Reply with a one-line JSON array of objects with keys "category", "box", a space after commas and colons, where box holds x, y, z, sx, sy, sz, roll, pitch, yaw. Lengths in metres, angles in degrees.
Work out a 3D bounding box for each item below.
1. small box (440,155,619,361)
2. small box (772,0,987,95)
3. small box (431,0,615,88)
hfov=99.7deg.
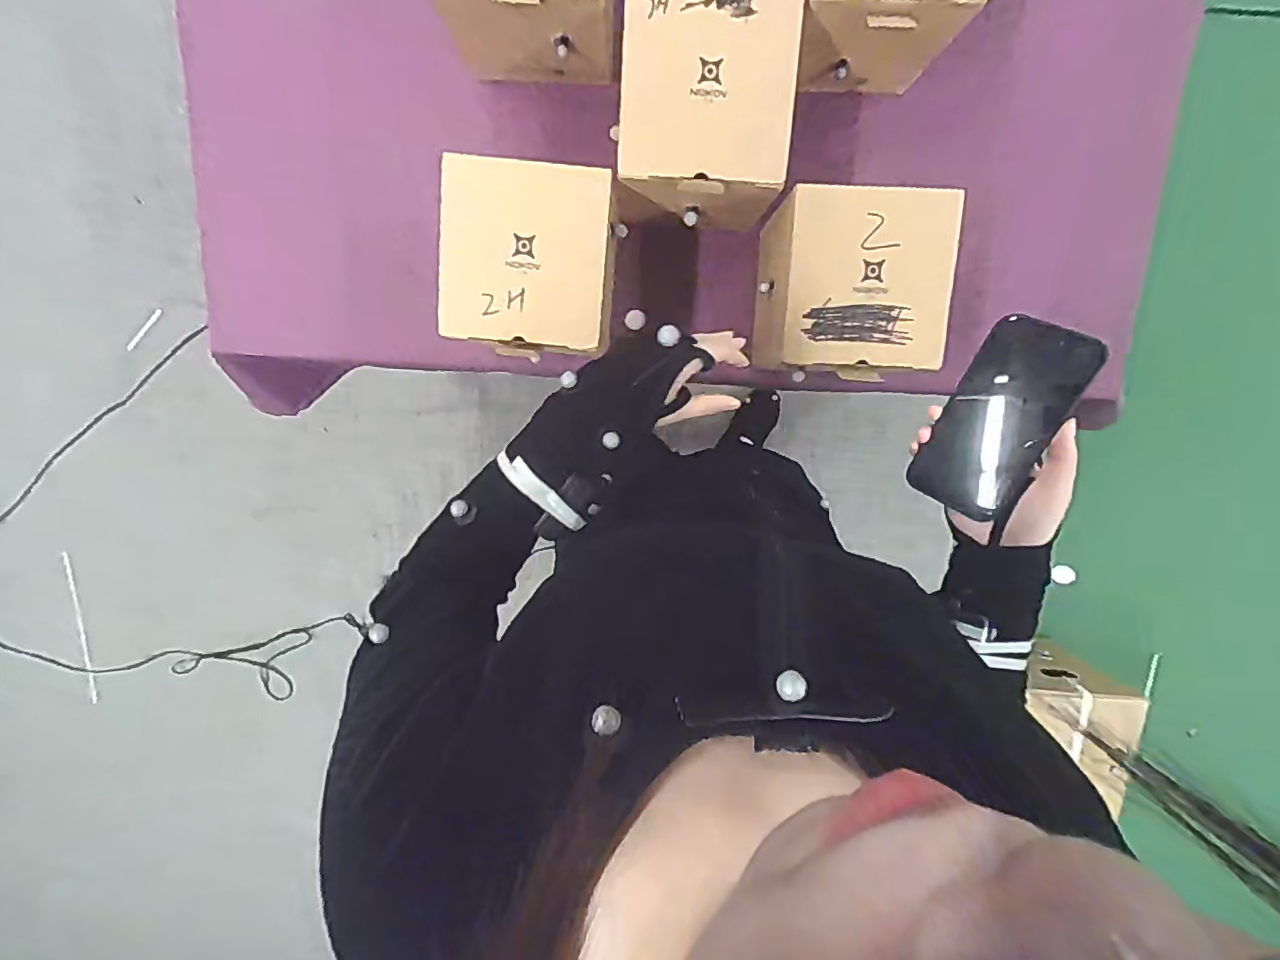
[{"category": "small box", "box": [-0.114, -0.236, 0.618, 0.168, 0.176, 0.179, 6, 101, 0]}, {"category": "small box", "box": [0.239, -0.538, 0.558, 0.168, 0.176, 0.179, 1, 102, 0]}, {"category": "small box", "box": [-0.111, -0.543, 0.560, 0.168, 0.176, 0.179, 3, 101, -1]}]
